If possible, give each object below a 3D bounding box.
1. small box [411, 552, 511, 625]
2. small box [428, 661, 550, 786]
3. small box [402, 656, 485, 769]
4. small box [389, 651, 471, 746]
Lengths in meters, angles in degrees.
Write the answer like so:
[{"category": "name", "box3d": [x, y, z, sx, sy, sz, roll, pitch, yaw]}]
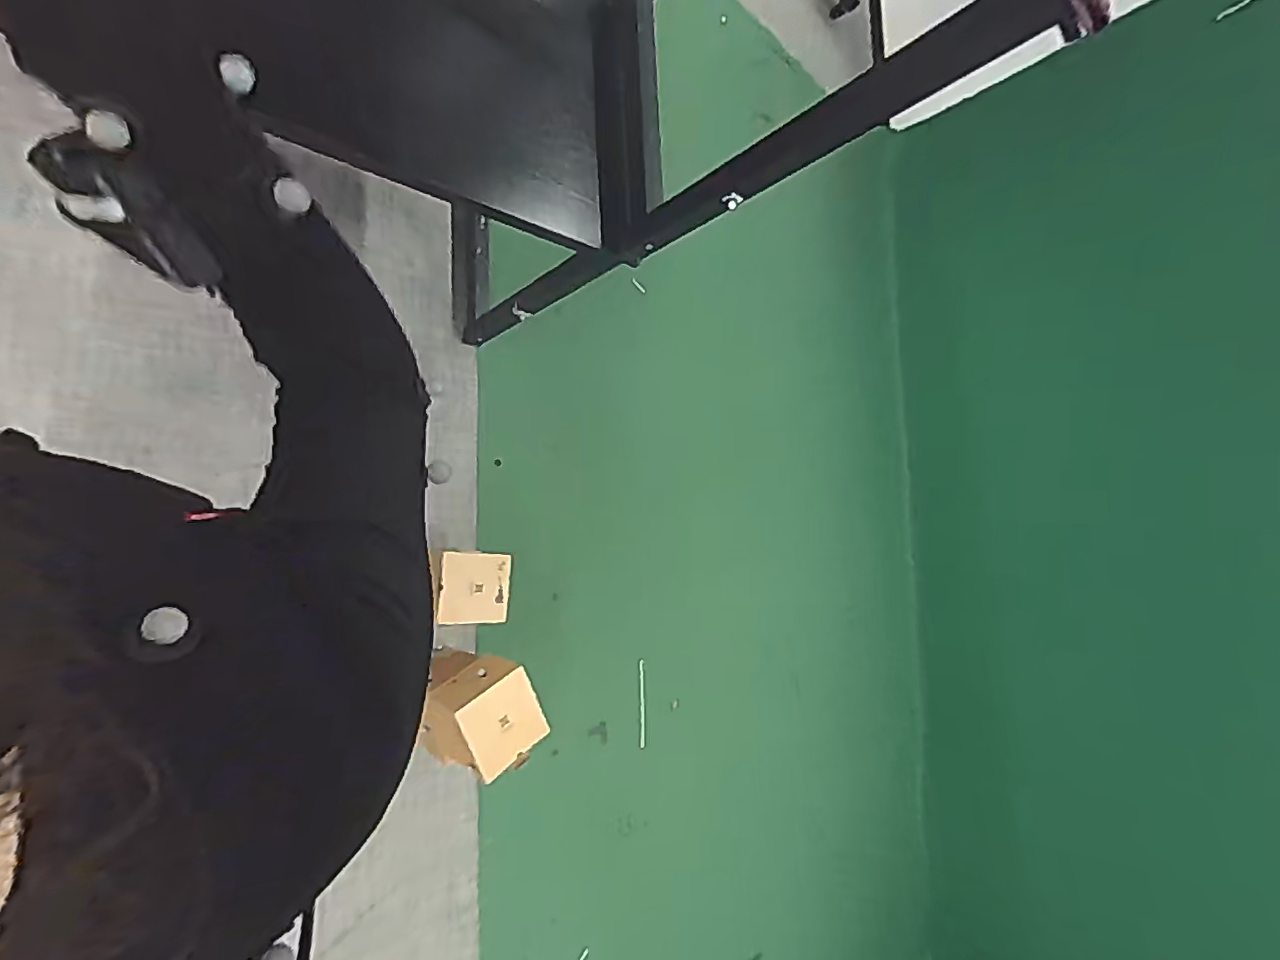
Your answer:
[{"category": "small box", "box3d": [-0.440, 0.264, 1.322, 0.179, 0.176, 0.168, 11, 78, -41]}, {"category": "small box", "box3d": [-0.332, 0.514, 1.177, 0.168, 0.176, 0.179, -29, 106, -39]}, {"category": "small box", "box3d": [-0.444, 0.542, 1.294, 0.168, 0.176, 0.179, -24, 103, -39]}, {"category": "small box", "box3d": [-0.544, 0.561, 1.421, 0.168, 0.176, 0.179, -7, 91, -42]}]
